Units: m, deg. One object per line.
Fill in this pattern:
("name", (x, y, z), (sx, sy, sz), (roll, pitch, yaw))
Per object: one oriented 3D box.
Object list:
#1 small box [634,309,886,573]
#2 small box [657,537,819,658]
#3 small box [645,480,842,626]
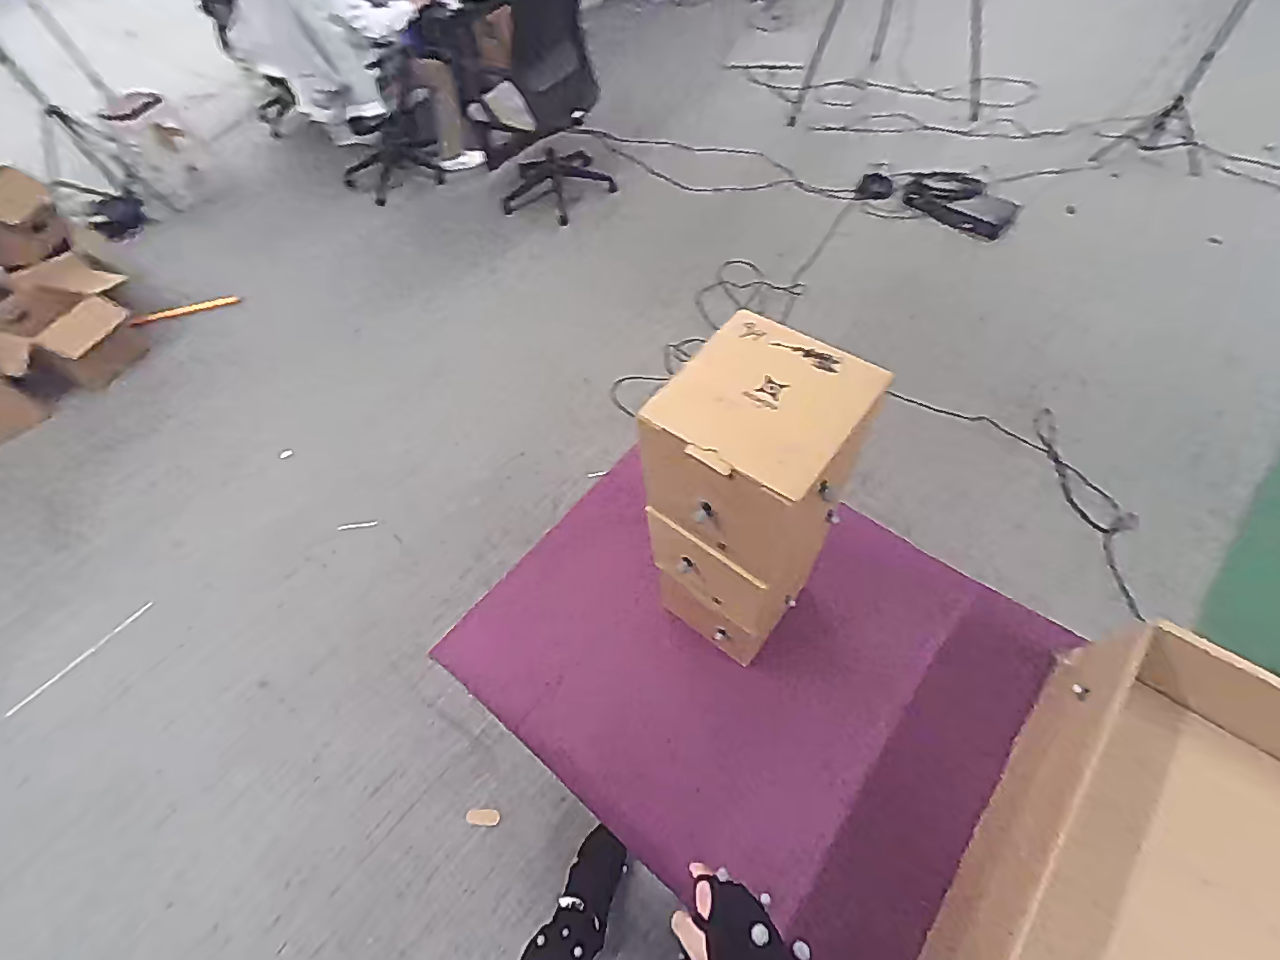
("small box", (0.118, -0.034, 0.558), (0.168, 0.176, 0.179), (33, 67, 23))
("small box", (0.147, 0.142, 0.830), (0.168, 0.176, 0.179), (34, 66, 24))
("small box", (0.129, 0.057, 0.694), (0.168, 0.176, 0.179), (34, 66, 24))
